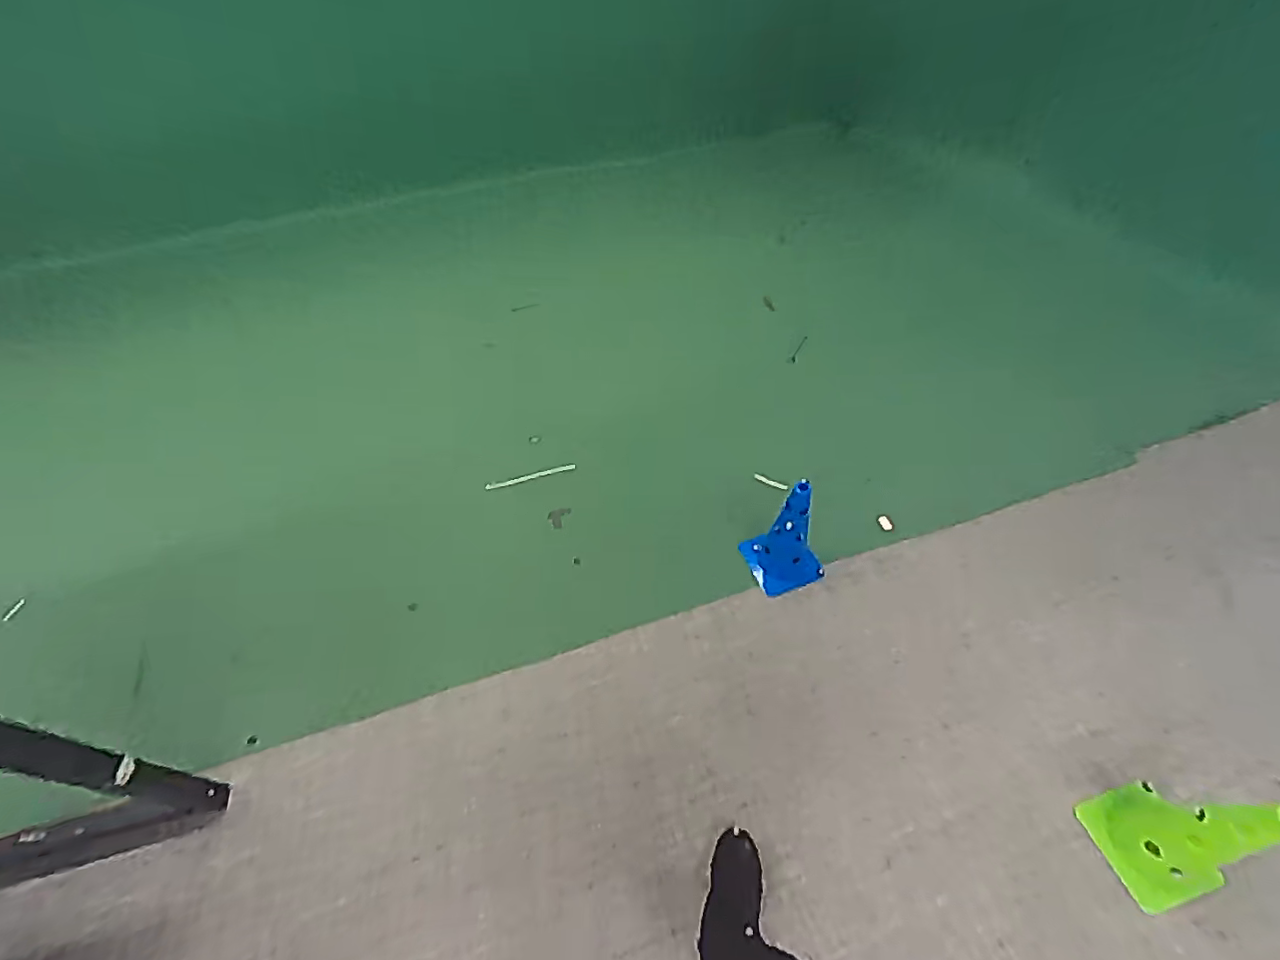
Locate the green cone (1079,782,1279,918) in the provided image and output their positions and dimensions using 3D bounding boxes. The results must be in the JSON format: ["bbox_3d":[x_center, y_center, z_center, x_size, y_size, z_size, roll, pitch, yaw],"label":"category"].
[{"bbox_3d":[1.066,0.666,1.007,0.200,0.368,0.202,-16,52,-9],"label":"green cone"}]
